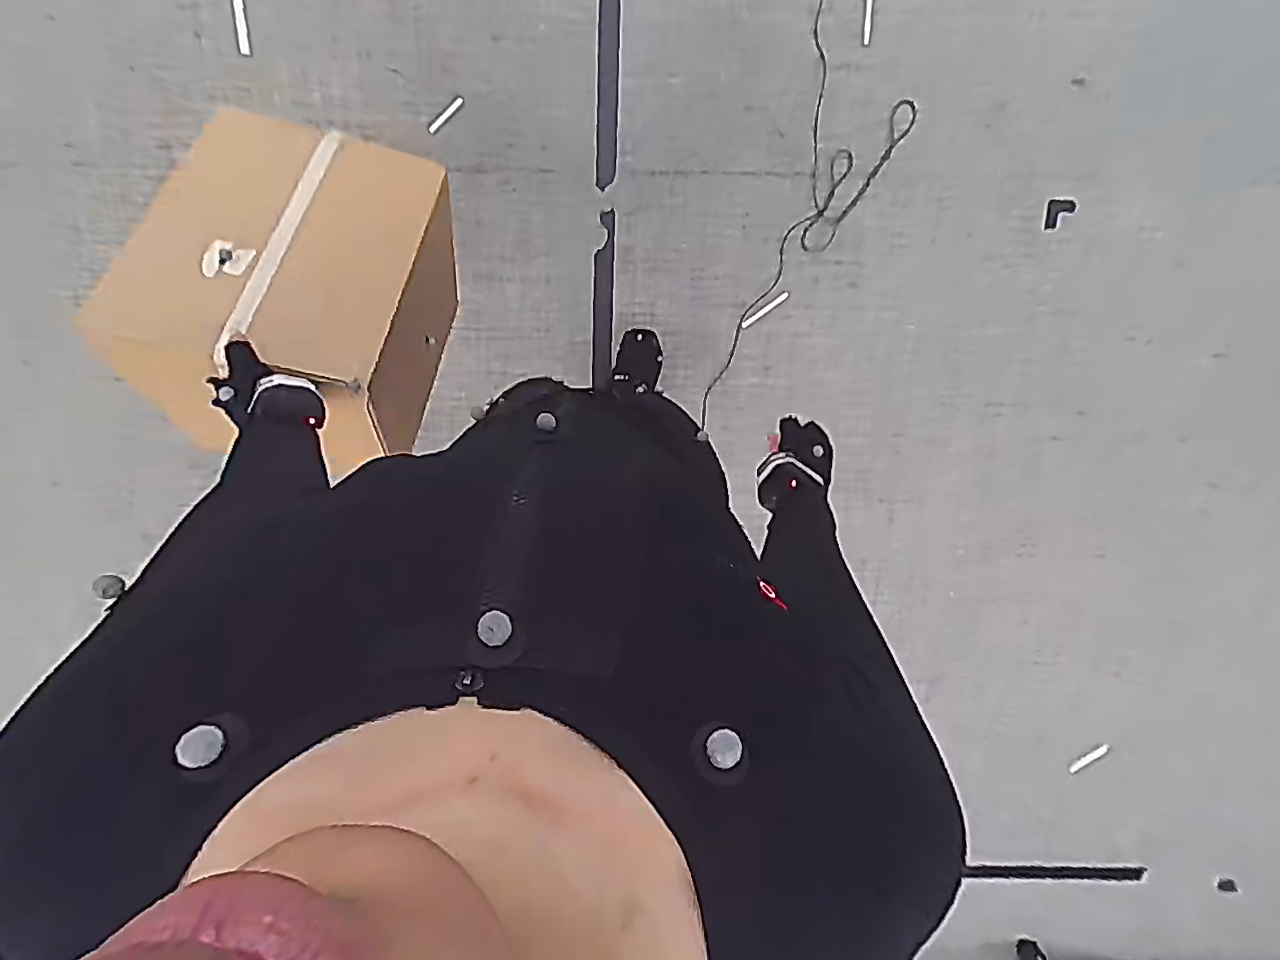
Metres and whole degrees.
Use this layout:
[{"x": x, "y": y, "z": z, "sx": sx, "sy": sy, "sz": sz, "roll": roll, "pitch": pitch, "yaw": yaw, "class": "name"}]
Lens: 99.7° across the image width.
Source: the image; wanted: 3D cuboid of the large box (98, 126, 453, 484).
[{"x": -0.502, "y": -0.254, "z": 0.864, "sx": 0.320, "sy": 0.320, "sz": 0.408, "roll": 10, "pitch": 64, "yaw": -10, "class": "large box"}]
